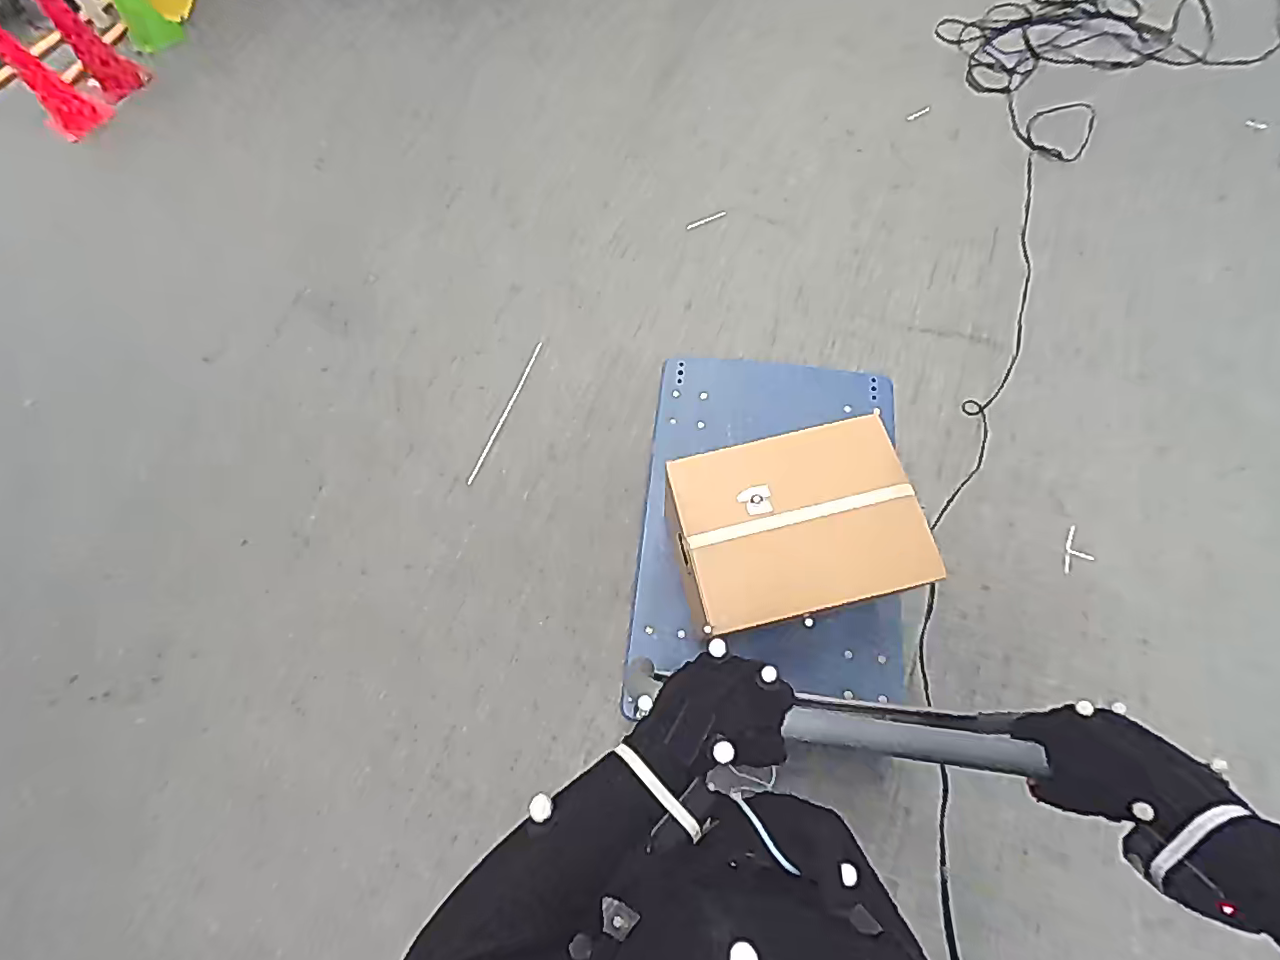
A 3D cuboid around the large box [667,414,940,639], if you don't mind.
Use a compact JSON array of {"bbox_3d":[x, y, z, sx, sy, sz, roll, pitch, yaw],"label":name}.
[{"bbox_3d":[0.285,0.113,1.084,0.408,0.320,0.320,-14,70,-1],"label":"large box"}]
